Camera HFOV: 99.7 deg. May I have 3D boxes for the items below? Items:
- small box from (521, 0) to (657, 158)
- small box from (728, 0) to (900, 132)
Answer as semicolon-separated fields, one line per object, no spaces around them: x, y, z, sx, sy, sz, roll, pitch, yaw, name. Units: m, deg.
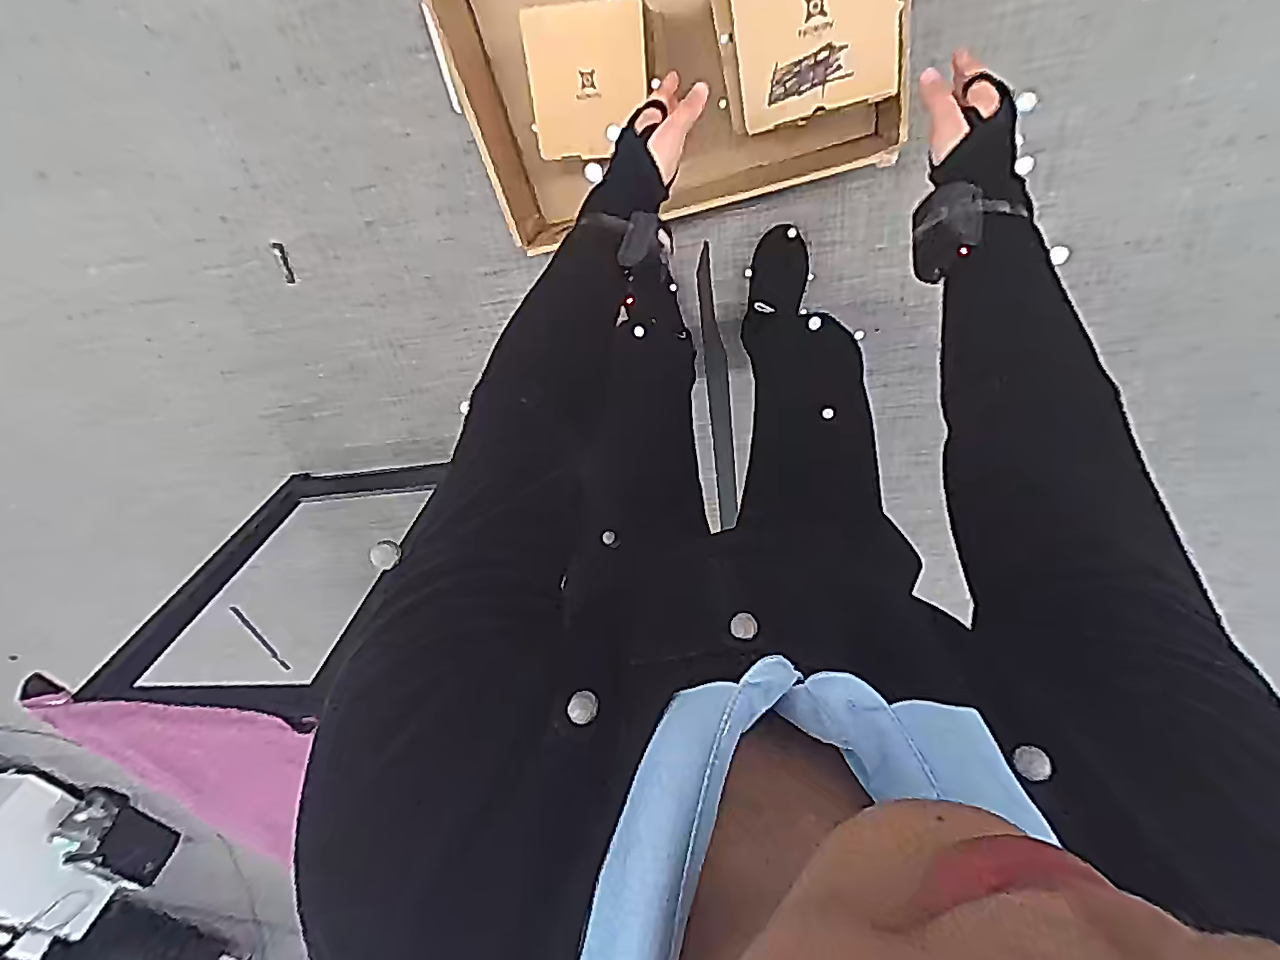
-0.064;-0.595;0.806;0.168;0.176;0.179;-1;127;7;small box
0.188;-0.525;0.614;0.168;0.176;0.179;-8;125;14;small box
